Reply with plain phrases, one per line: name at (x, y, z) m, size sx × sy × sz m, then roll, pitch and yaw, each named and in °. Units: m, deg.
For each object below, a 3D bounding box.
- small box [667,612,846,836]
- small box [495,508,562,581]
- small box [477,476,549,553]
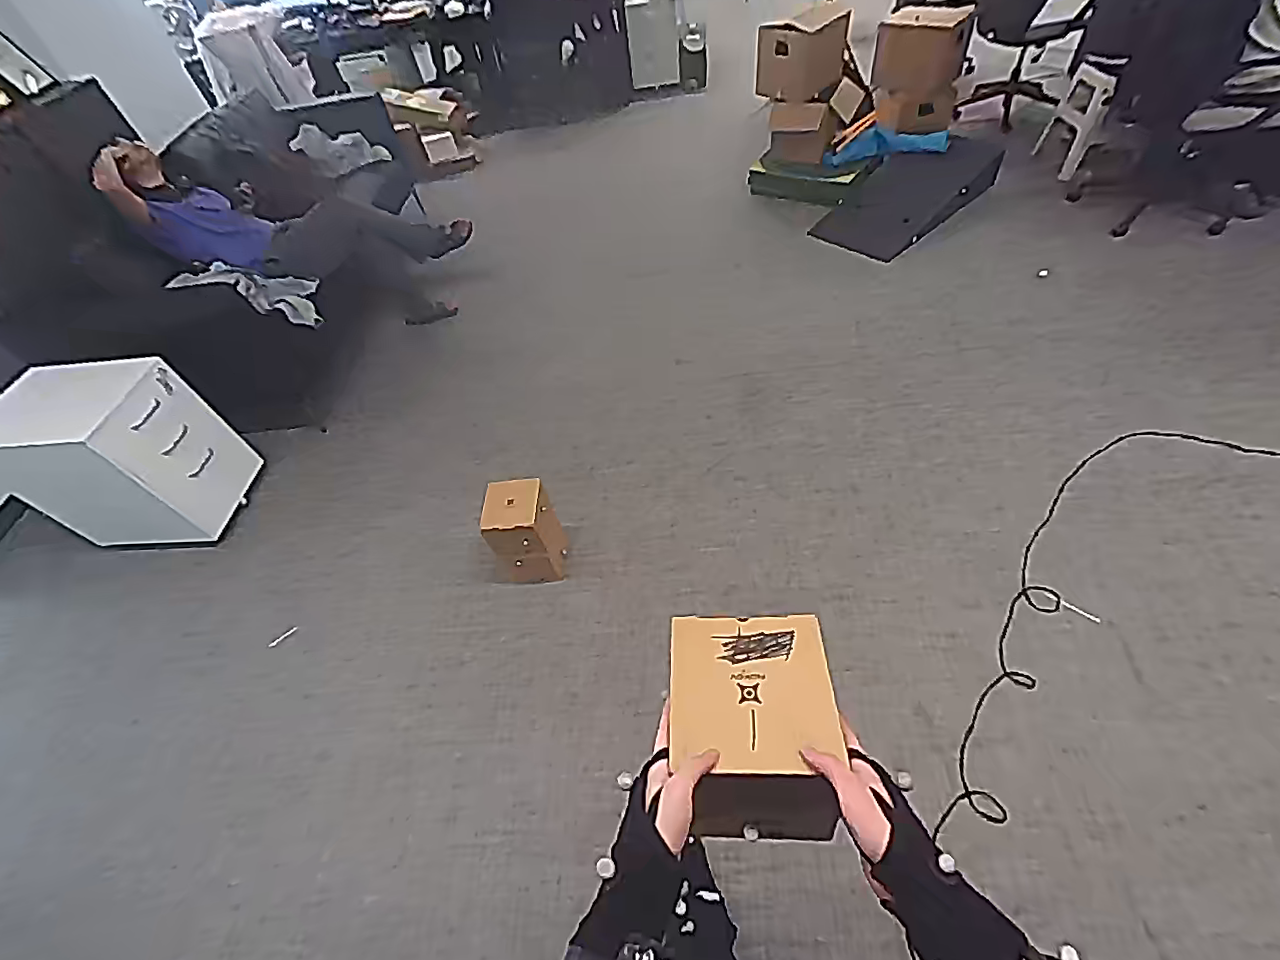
small box at (0.119, 0.270, 0.610) m, size 0.168 × 0.176 × 0.179 m, roll -3°, pitch 39°, yaw 7°
small box at (-0.361, 0.214, 1.786) m, size 0.168 × 0.176 × 0.179 m, roll -5°, pitch 51°, yaw 6°
small box at (-0.383, 0.113, 1.661) m, size 0.168 × 0.176 × 0.179 m, roll -5°, pitch 50°, yaw 4°
